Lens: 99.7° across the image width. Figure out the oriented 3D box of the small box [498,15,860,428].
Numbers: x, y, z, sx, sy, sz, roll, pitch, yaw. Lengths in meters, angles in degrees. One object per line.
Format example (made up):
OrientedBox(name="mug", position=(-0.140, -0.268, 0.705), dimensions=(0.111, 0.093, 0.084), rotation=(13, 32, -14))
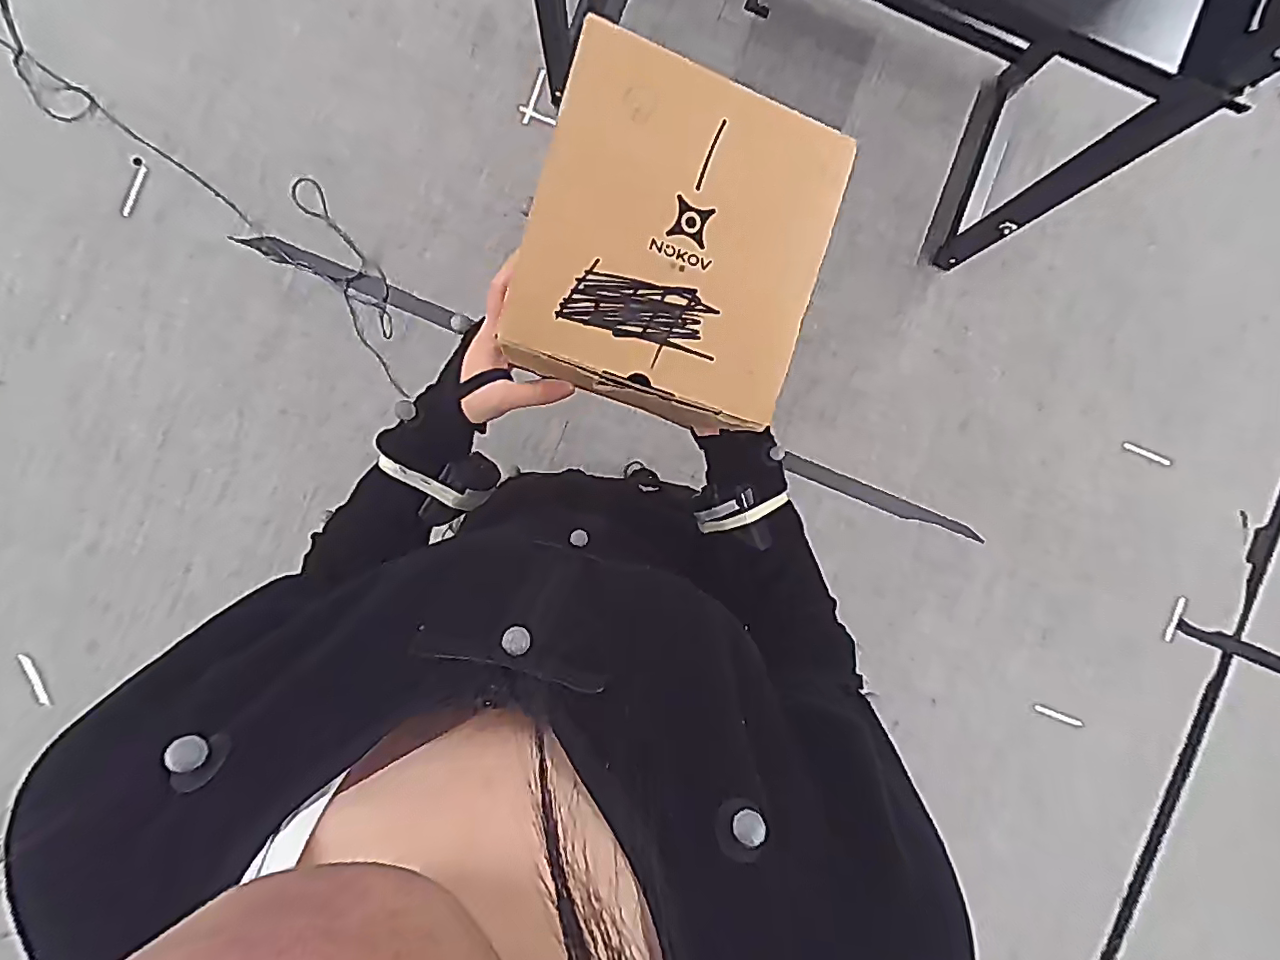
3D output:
OrientedBox(name="small box", position=(0.012, -0.144, 0.377), dimensions=(0.168, 0.176, 0.179), rotation=(17, 93, -12))
